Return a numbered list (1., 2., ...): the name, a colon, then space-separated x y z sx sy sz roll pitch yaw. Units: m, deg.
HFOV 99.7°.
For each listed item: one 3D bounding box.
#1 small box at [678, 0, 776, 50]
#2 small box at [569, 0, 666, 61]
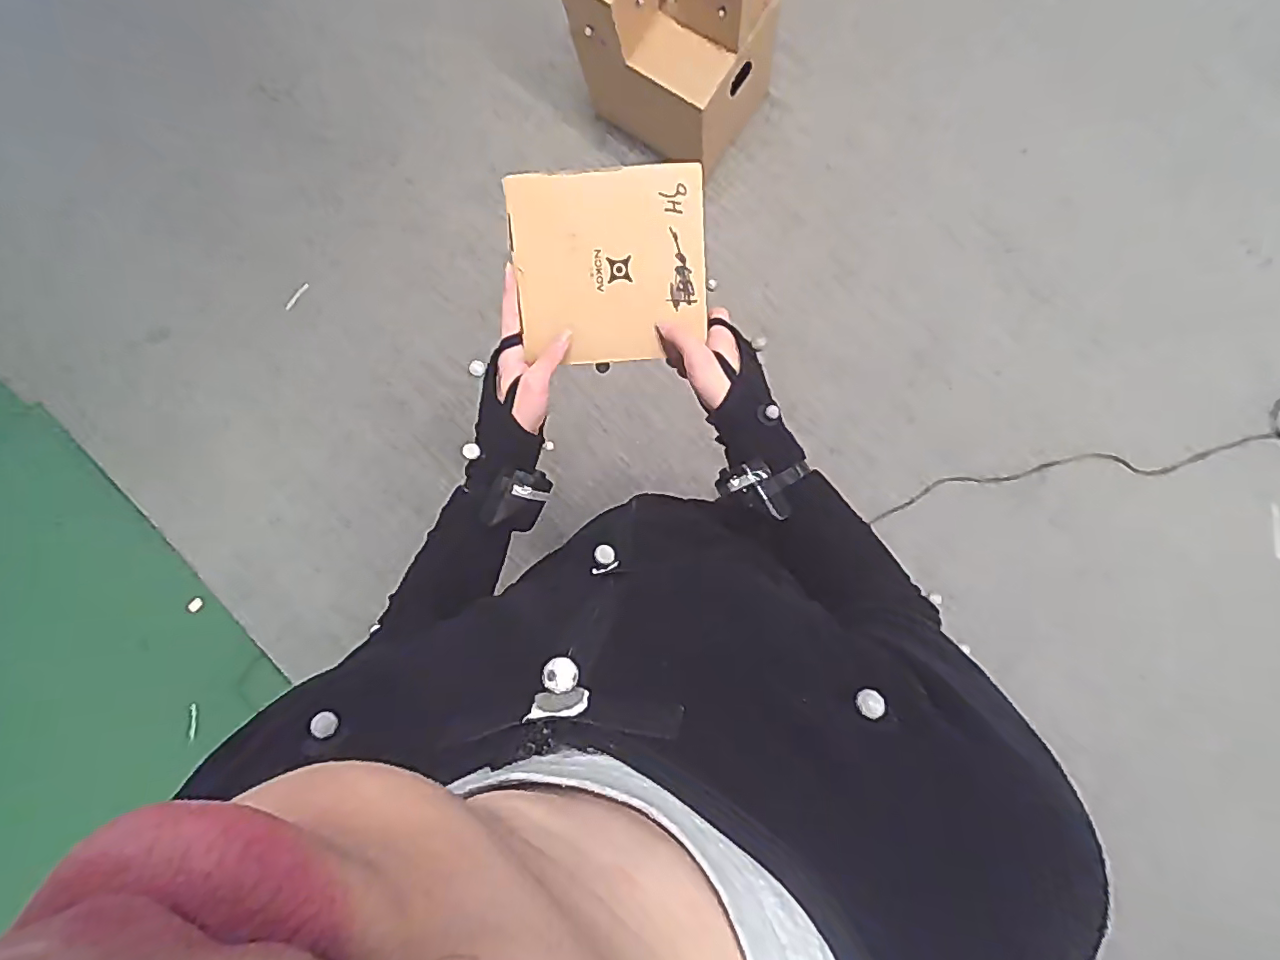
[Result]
1. small box: 0.195 -1.088 1.168 0.179 0.176 0.168 33 90 8
2. small box: -0.053 -1.101 1.201 0.168 0.176 0.179 38 97 7
